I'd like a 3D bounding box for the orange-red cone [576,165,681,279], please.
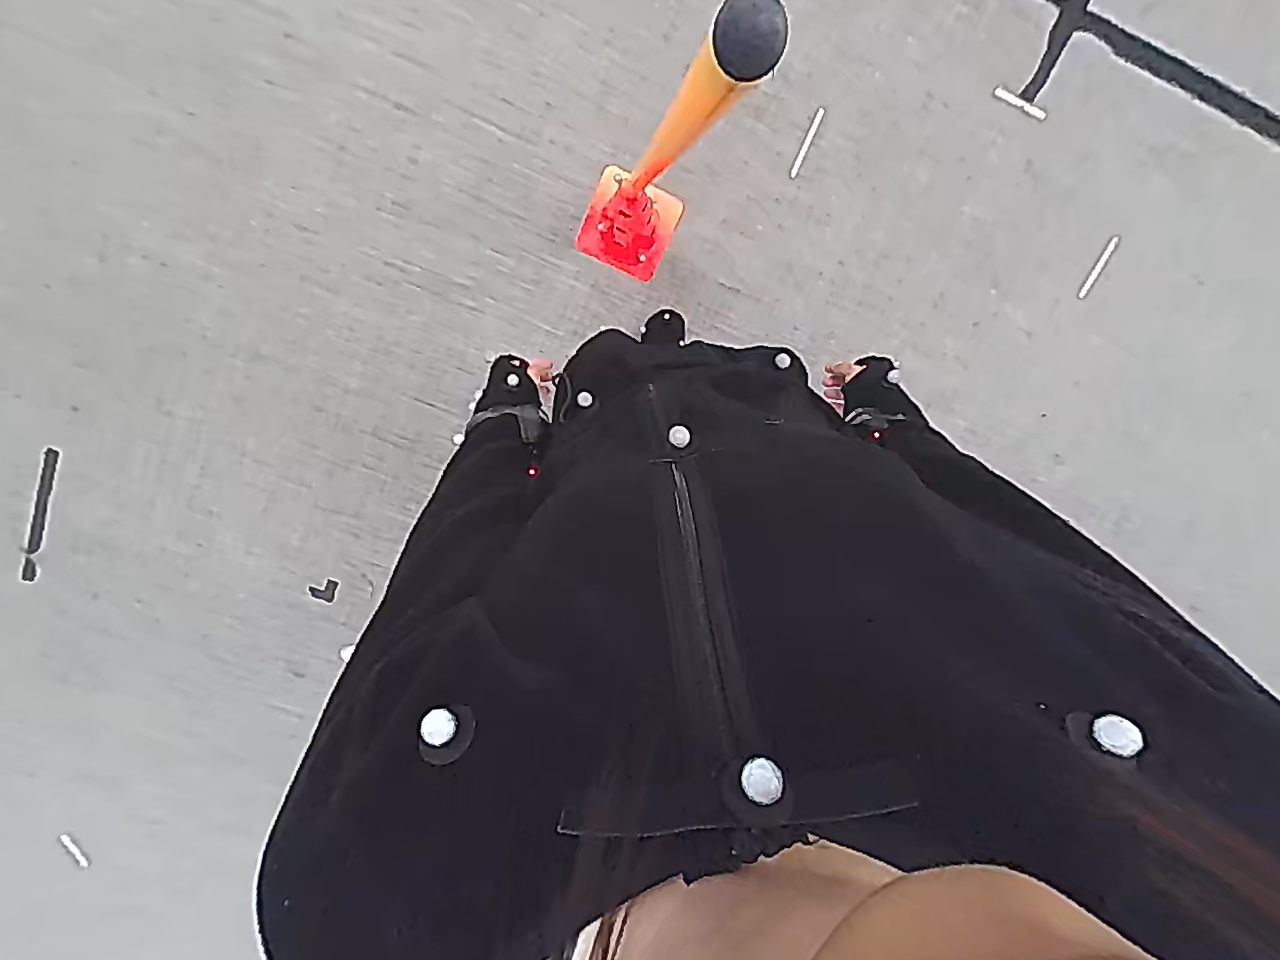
[{"bbox_3d":[-0.019,-0.549,1.089,0.198,0.360,0.199,25,103,-9],"label":"orange-red cone"}]
